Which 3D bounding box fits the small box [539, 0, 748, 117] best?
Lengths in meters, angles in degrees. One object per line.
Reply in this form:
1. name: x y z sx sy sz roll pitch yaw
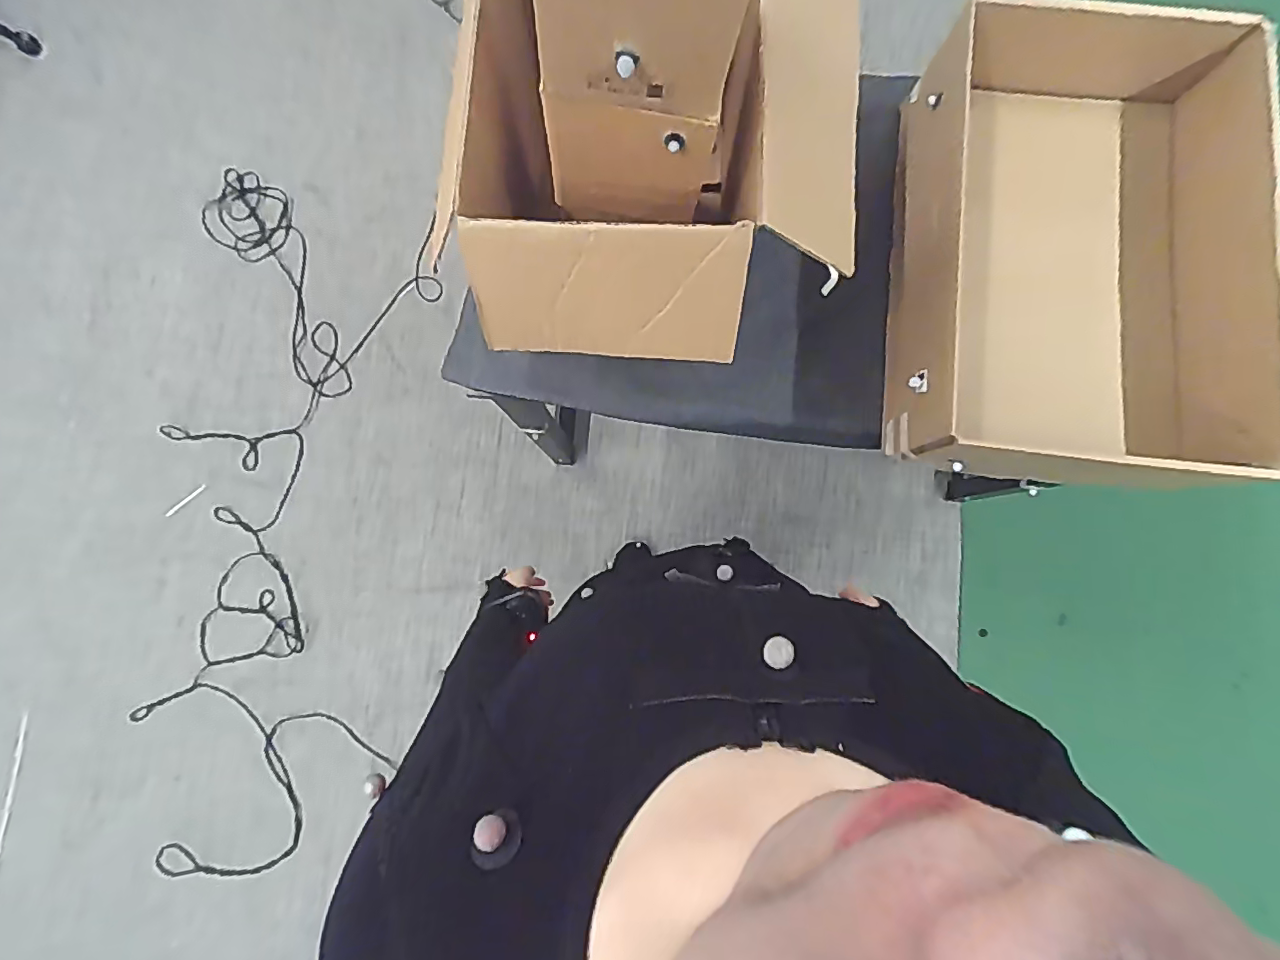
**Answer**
1. small box: 0.005 -0.449 0.444 0.168 0.176 0.179 4 82 -4
